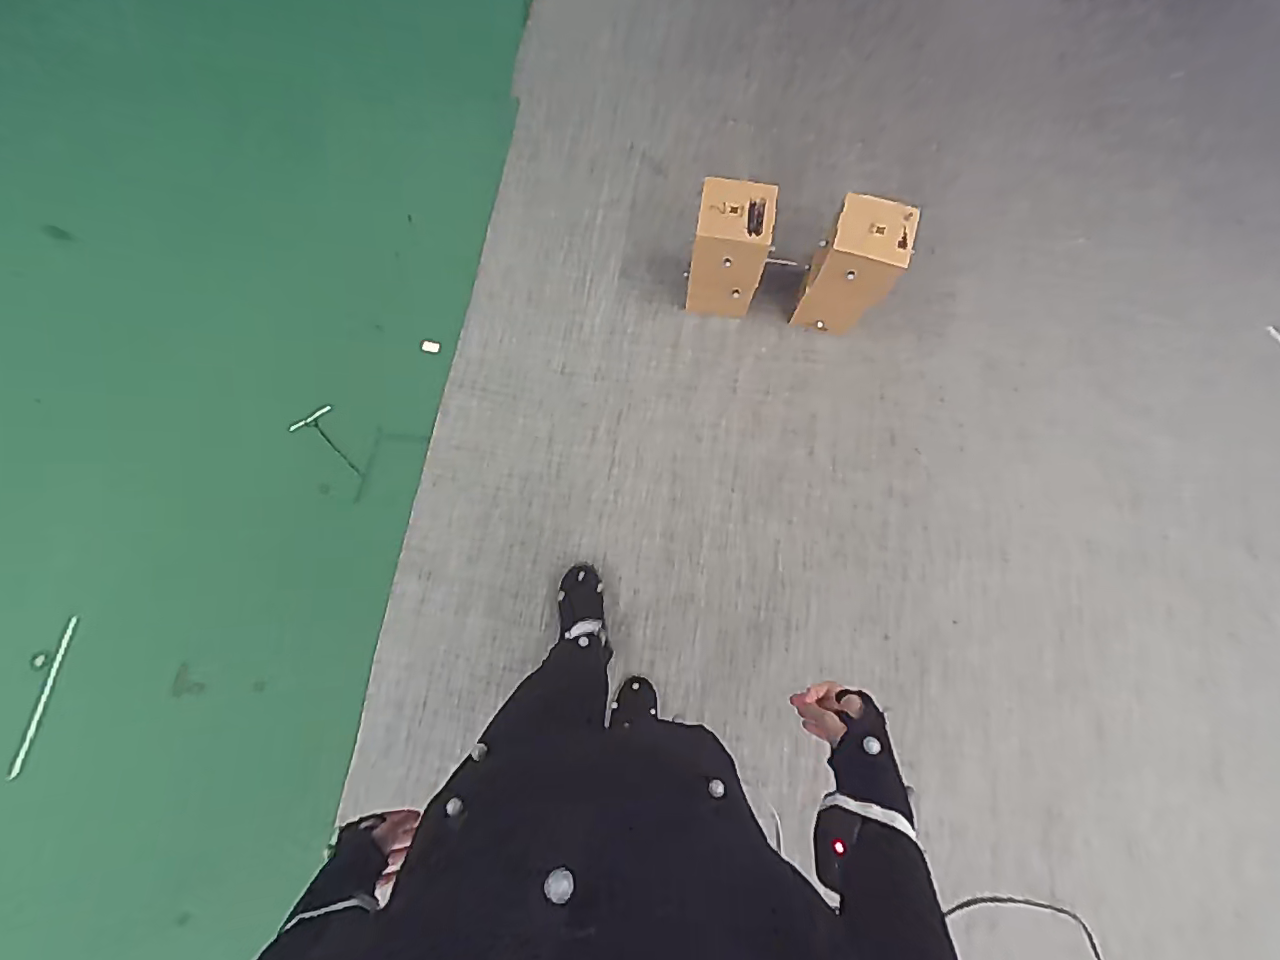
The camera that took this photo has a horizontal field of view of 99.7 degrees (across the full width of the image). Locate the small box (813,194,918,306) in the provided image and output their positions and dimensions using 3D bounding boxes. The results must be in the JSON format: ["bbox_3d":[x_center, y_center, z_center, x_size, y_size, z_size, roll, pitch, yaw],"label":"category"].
[{"bbox_3d":[0.540,-0.553,1.319,0.179,0.176,0.168,17,78,6],"label":"small box"}]

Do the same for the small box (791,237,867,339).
[{"bbox_3d":[0.528,-0.520,1.481,0.168,0.176,0.179,17,78,5],"label":"small box"}]
